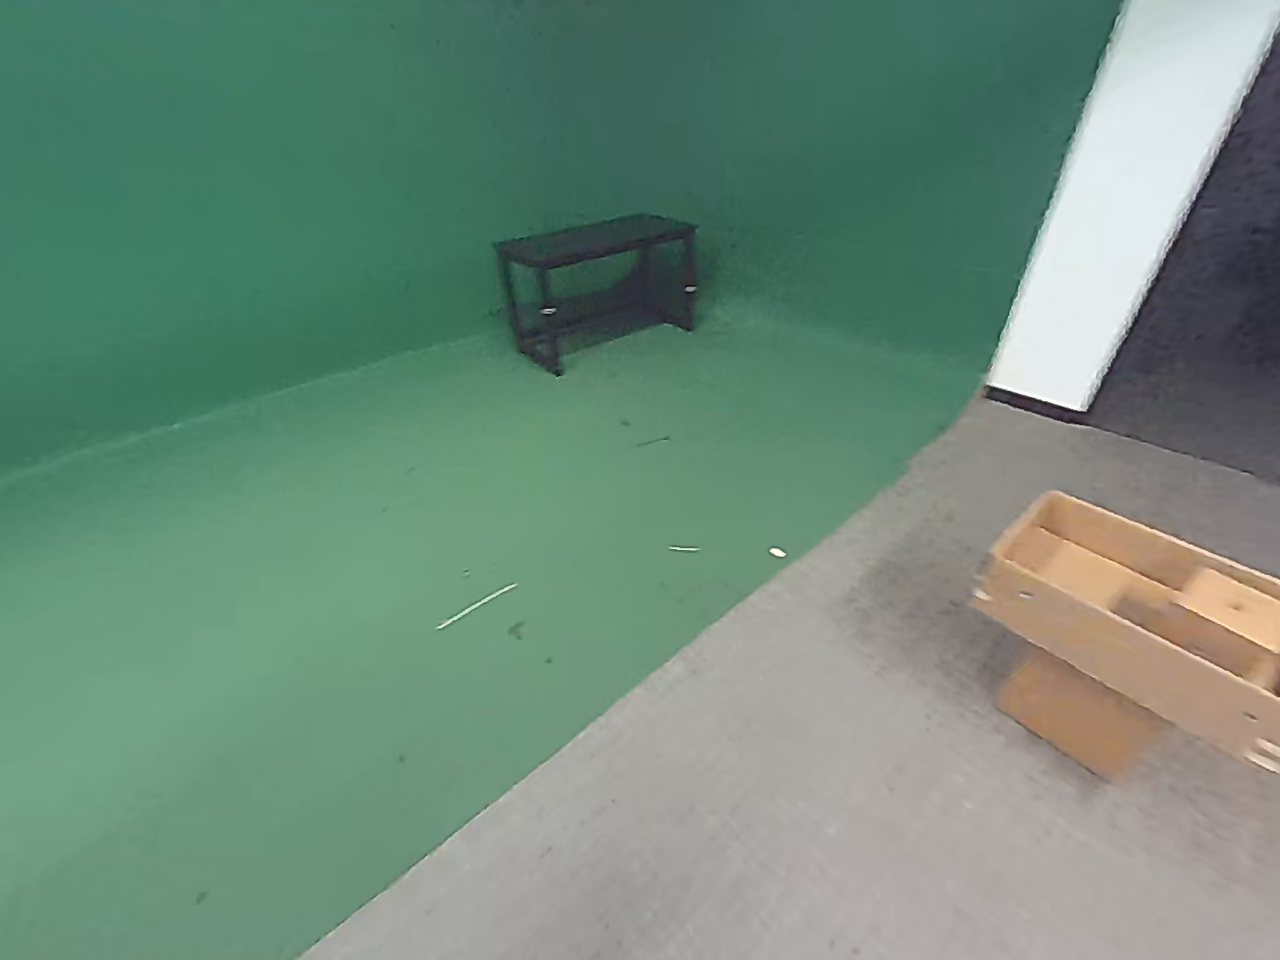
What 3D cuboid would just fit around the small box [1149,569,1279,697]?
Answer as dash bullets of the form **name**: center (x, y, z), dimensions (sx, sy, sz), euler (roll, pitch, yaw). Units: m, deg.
- **small box**: center (1.275, 0.335, 1.184), dimensions (0.179, 0.176, 0.168), euler (-24, 41, -26)
